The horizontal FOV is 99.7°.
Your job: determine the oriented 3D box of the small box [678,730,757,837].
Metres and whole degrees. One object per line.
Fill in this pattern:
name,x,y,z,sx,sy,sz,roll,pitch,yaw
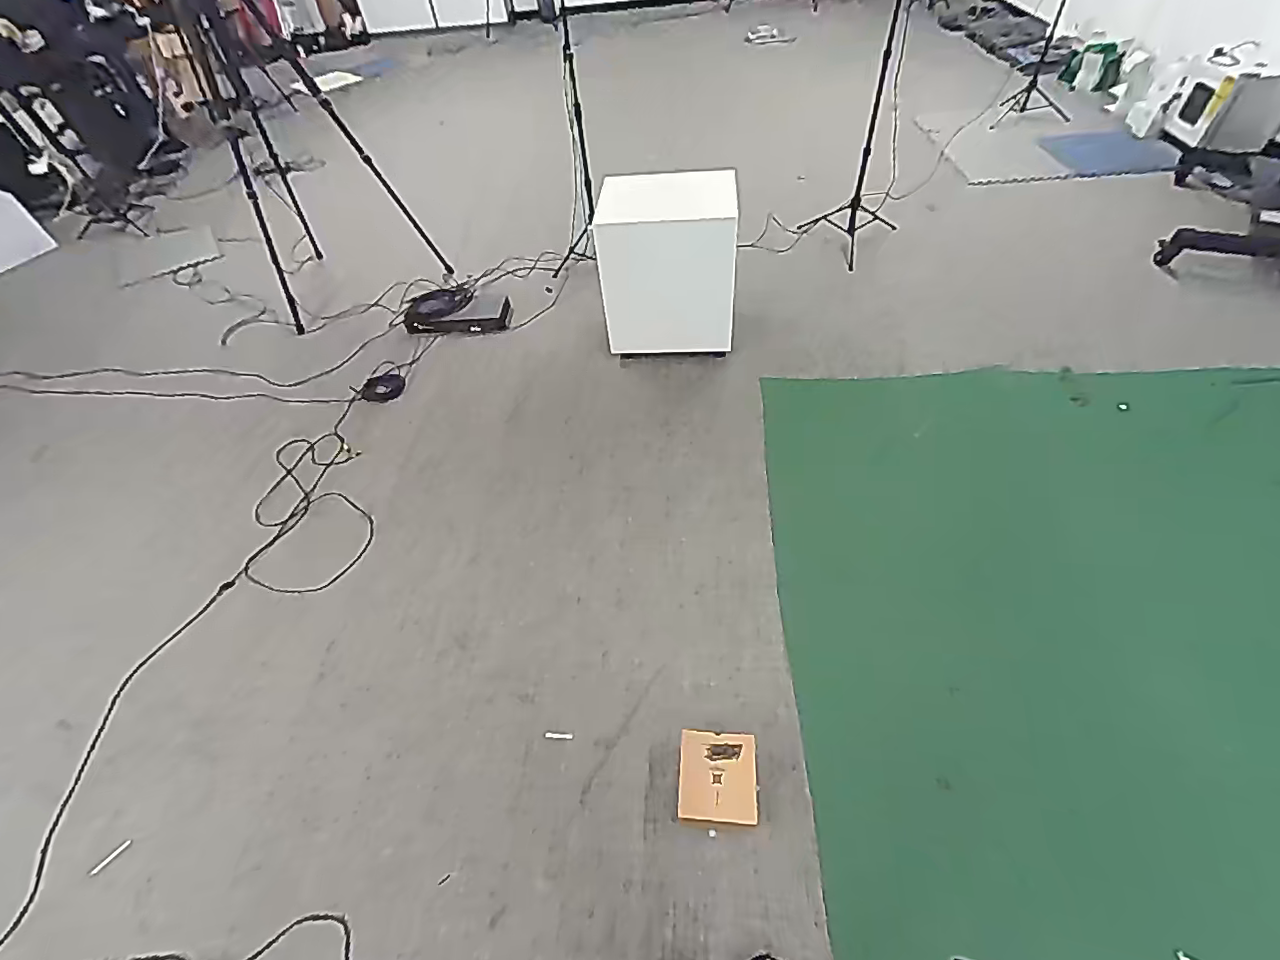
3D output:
small box,0.172,0.687,1.223,0.168,0.176,0.179,2,51,7
